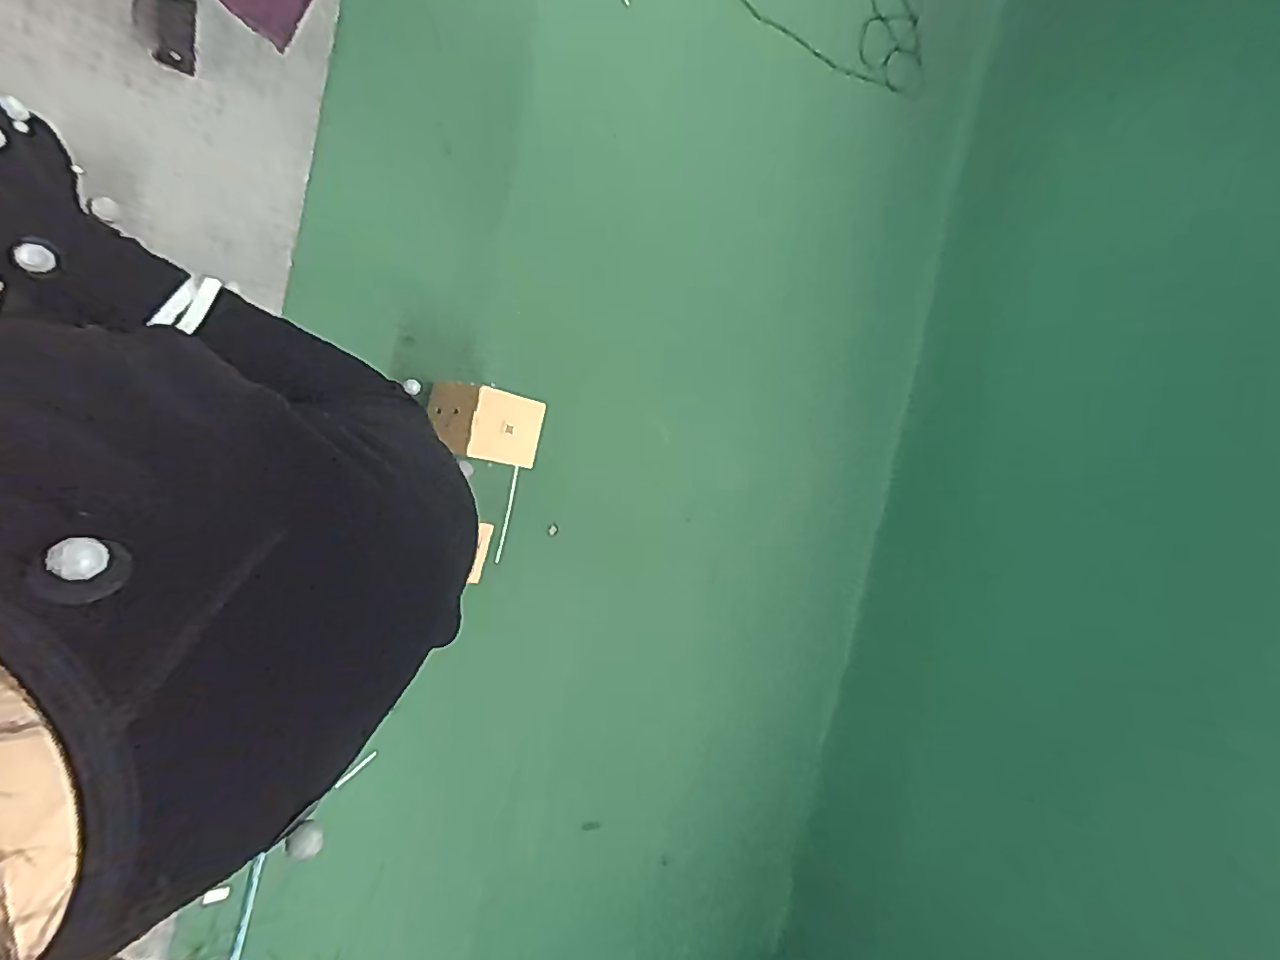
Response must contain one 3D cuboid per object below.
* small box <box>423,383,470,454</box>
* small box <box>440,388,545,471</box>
[{"bbox_3d":[-0.467,-0.155,1.456,0.168,0.176,0.179,11,91,-42],"label":"small box"},{"bbox_3d":[-0.365,-0.129,1.332,0.179,0.176,0.168,12,91,-41],"label":"small box"}]
